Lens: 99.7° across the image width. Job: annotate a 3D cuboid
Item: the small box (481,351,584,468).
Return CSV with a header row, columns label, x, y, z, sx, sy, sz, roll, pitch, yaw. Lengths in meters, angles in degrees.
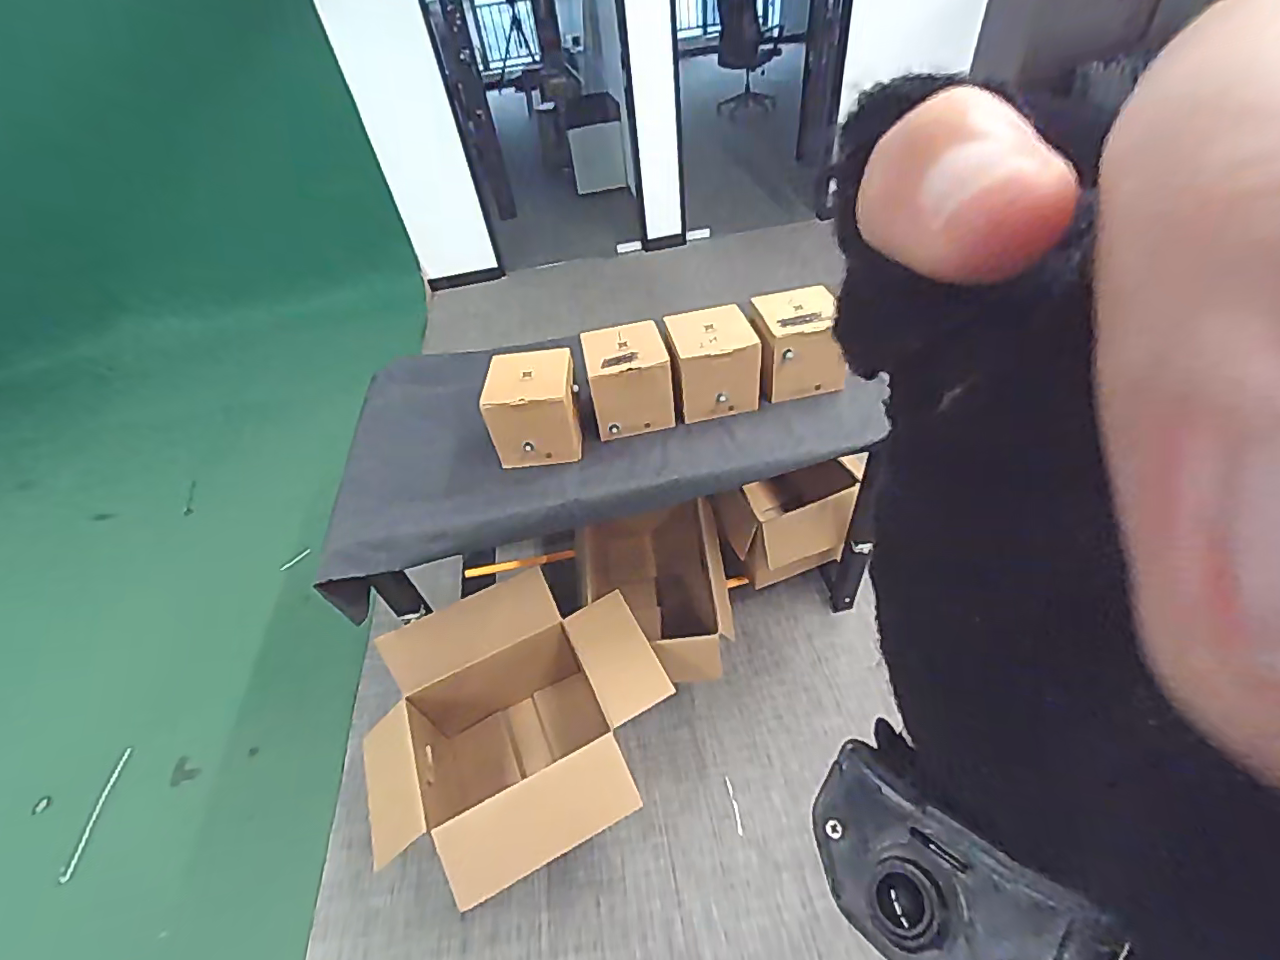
label,x,y,z,sx,sy,sz,roll,pitch,yaw
small box,-0.215,-0.147,1.134,0.168,0.176,0.179,-6,45,3
